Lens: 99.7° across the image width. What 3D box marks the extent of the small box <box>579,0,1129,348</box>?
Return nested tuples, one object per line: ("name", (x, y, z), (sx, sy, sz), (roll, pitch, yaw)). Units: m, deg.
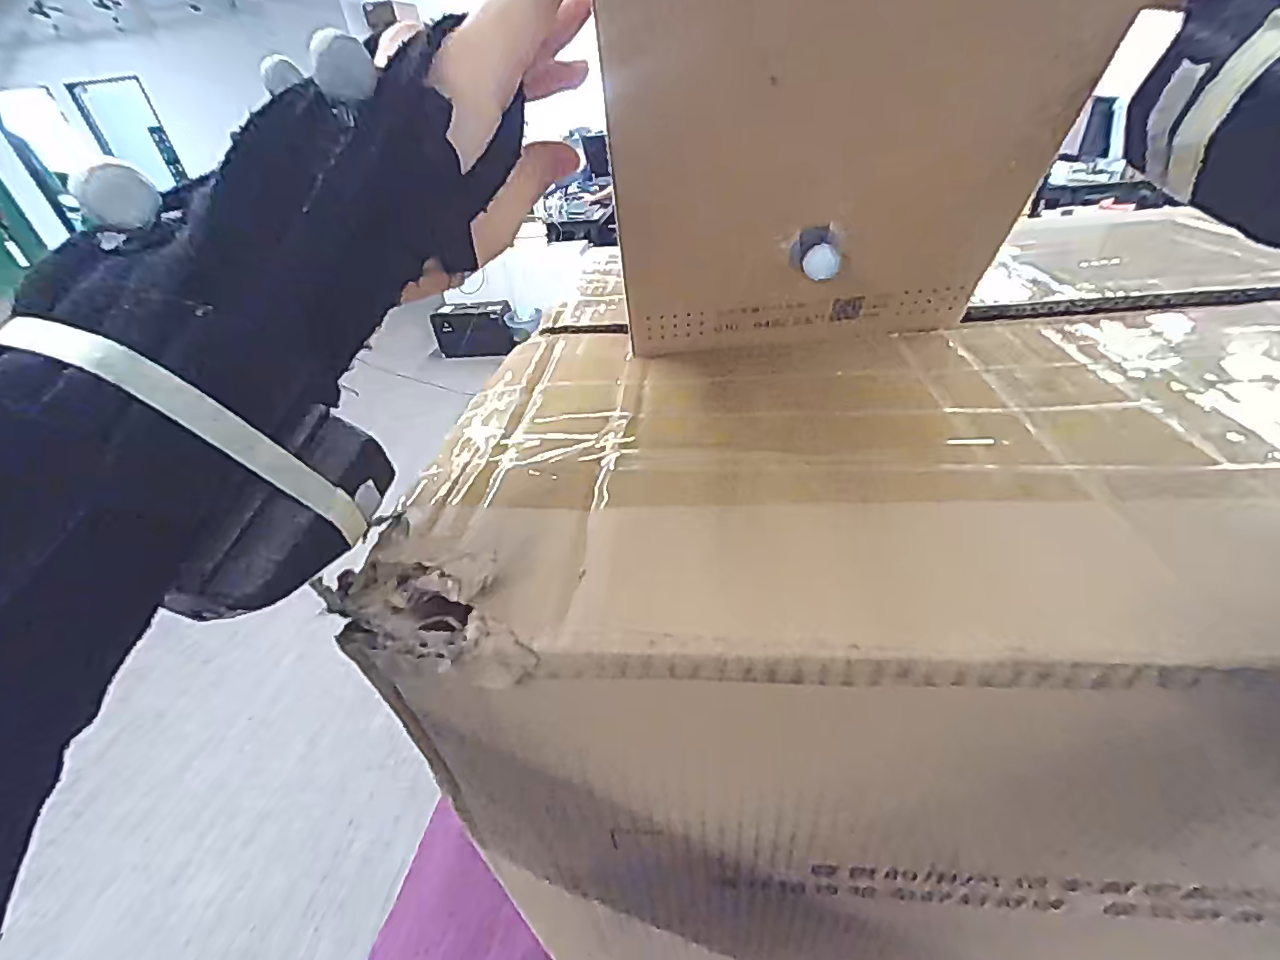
("small box", (0.061, -0.184, 0.240), (0.168, 0.176, 0.179), (-6, 58, 2))
